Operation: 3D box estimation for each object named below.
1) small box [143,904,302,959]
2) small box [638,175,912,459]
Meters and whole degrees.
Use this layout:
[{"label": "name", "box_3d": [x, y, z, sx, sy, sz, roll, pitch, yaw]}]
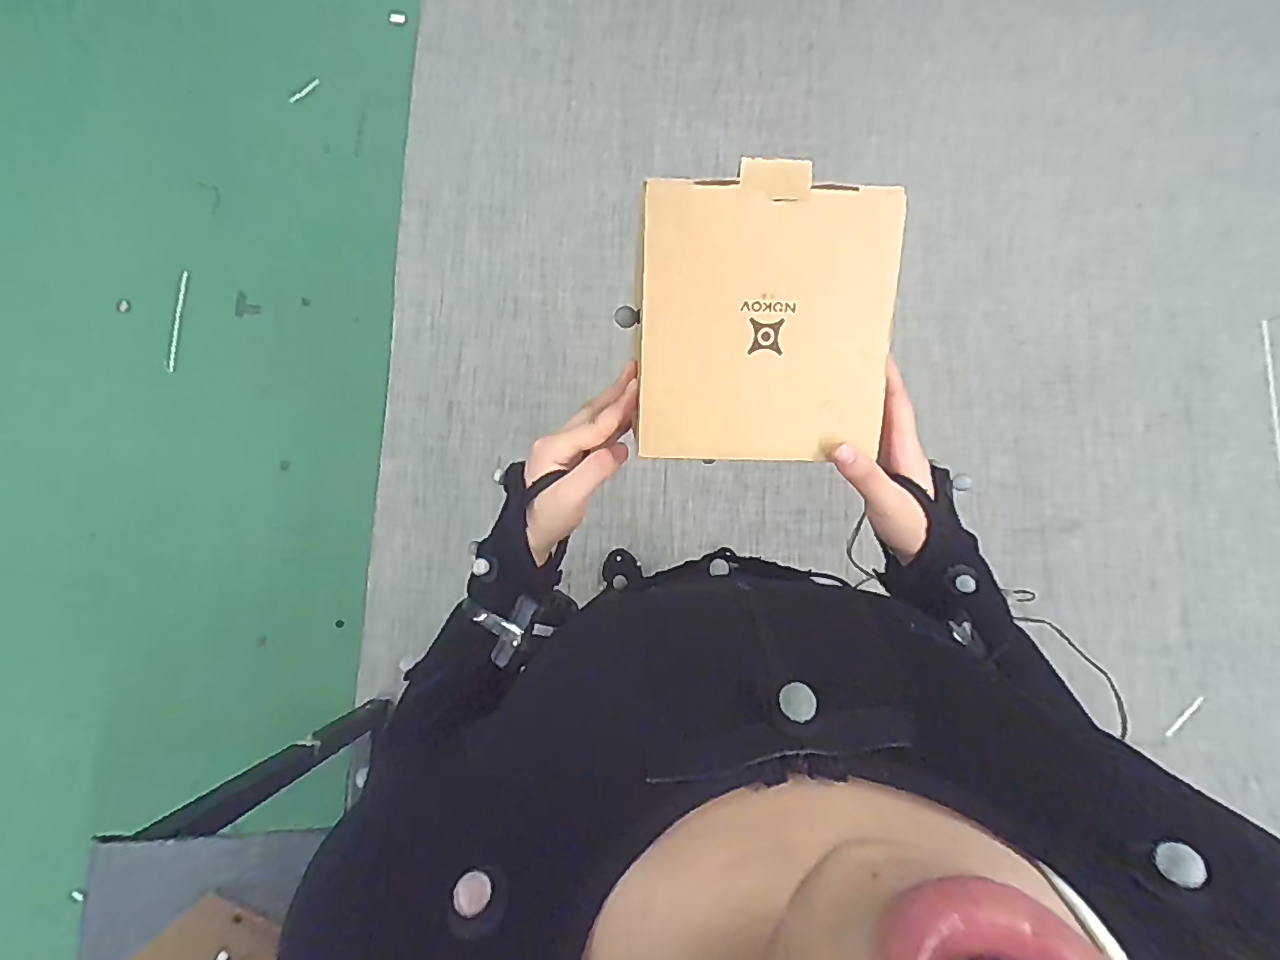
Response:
[{"label": "small box", "box_3d": [-0.537, 0.661, 0.635, 0.168, 0.176, 0.179, 22, 86, 4]}, {"label": "small box", "box_3d": [0.084, -0.116, 0.428, 0.168, 0.176, 0.179, 1, 101, -2]}]
